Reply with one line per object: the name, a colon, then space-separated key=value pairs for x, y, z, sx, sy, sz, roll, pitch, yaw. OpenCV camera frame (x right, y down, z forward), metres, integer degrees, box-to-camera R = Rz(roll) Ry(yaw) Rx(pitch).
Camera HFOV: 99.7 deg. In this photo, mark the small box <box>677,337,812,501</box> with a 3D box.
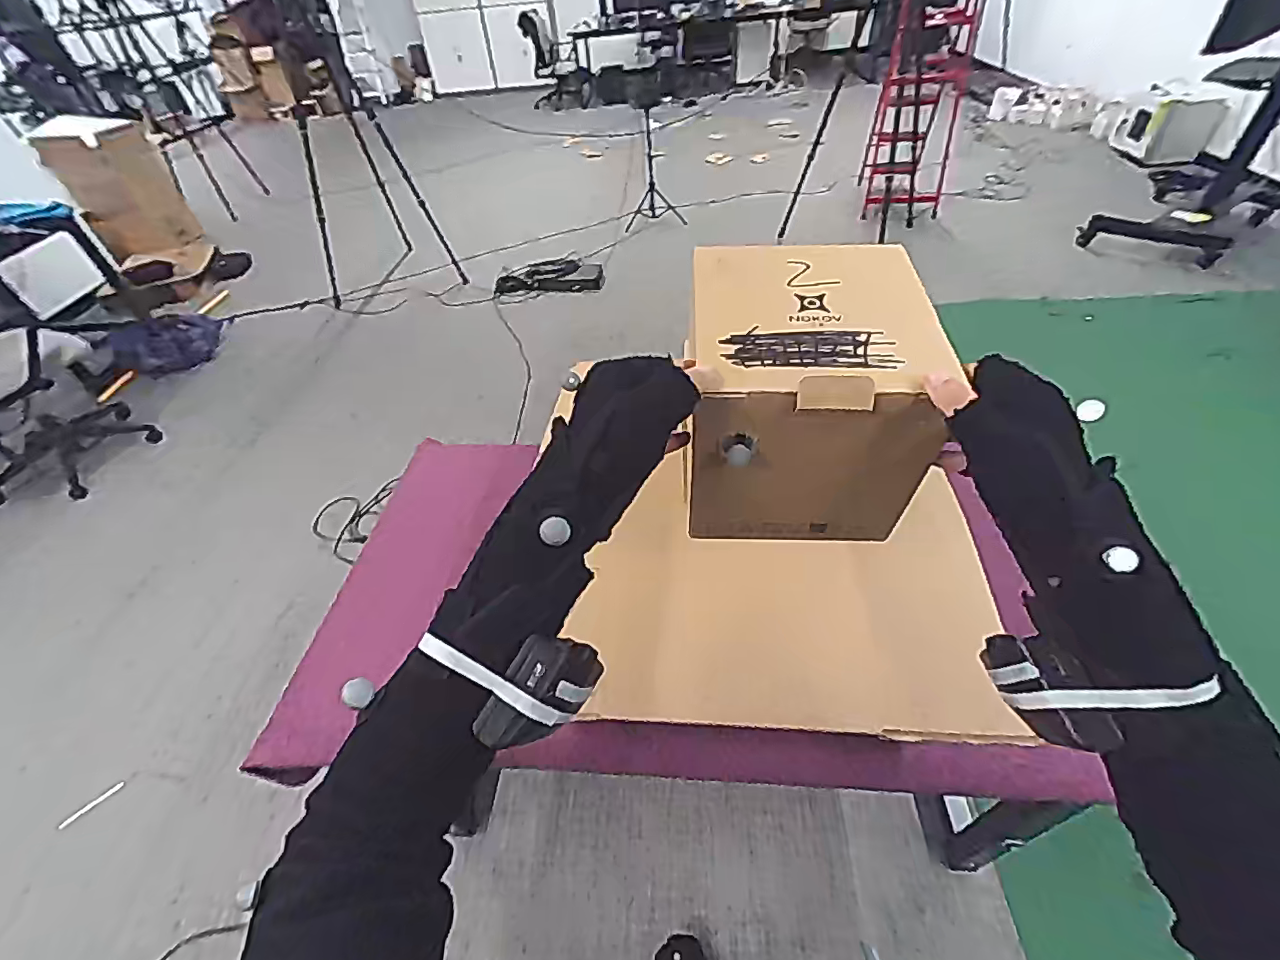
small box: x=0.141 y=-0.084 z=0.767 sx=0.168 sy=0.176 sz=0.179 roll=0 pitch=43 yaw=6
